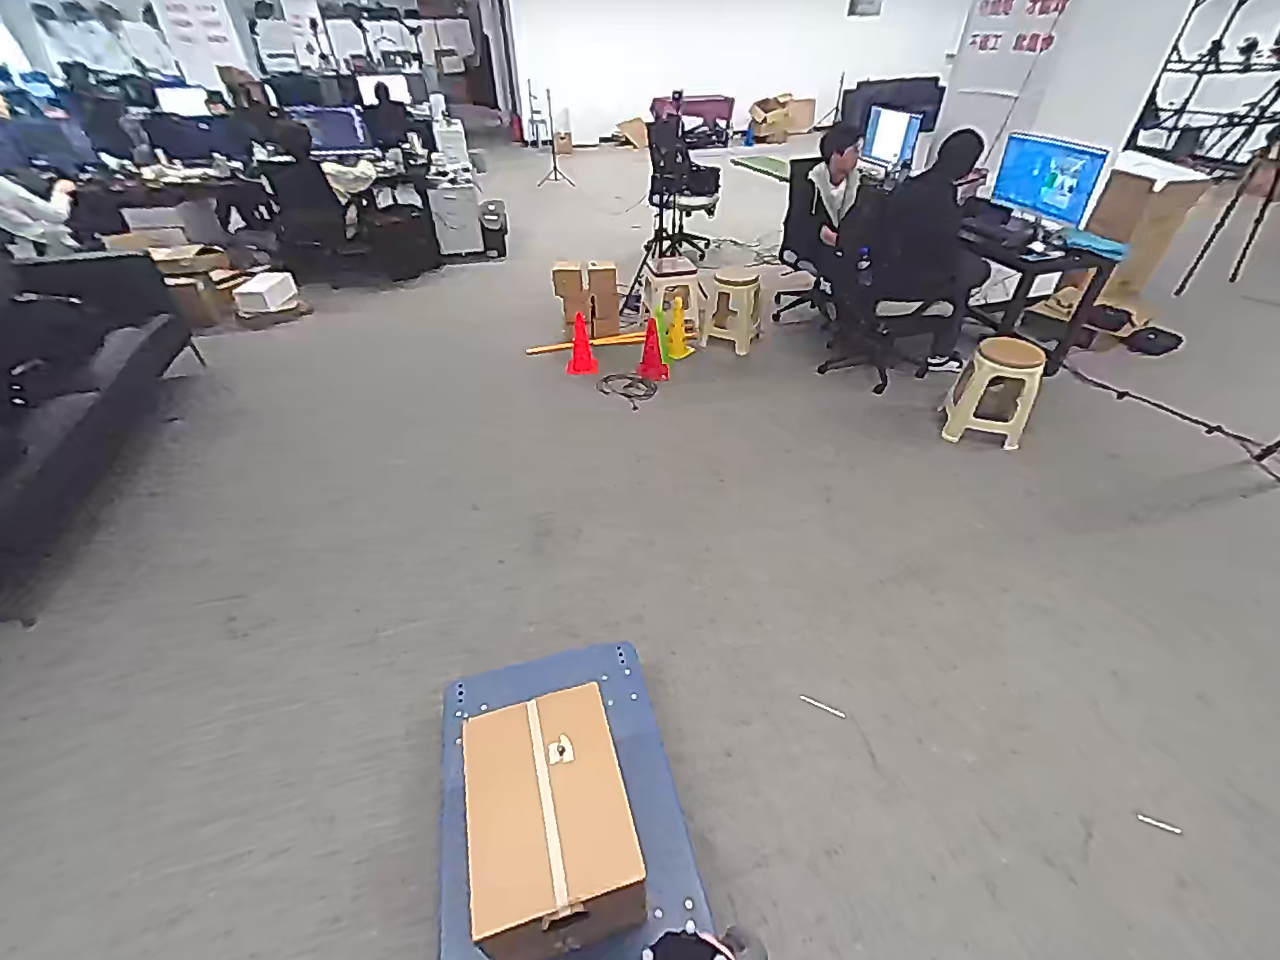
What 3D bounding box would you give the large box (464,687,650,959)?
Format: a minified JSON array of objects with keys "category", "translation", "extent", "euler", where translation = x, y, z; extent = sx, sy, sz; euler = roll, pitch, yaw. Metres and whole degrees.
[{"category":"large box","translation":[-0.186,0.754,1.198],"extent":[0.320,0.320,0.408],"euler":[-12,41,-12]}]
